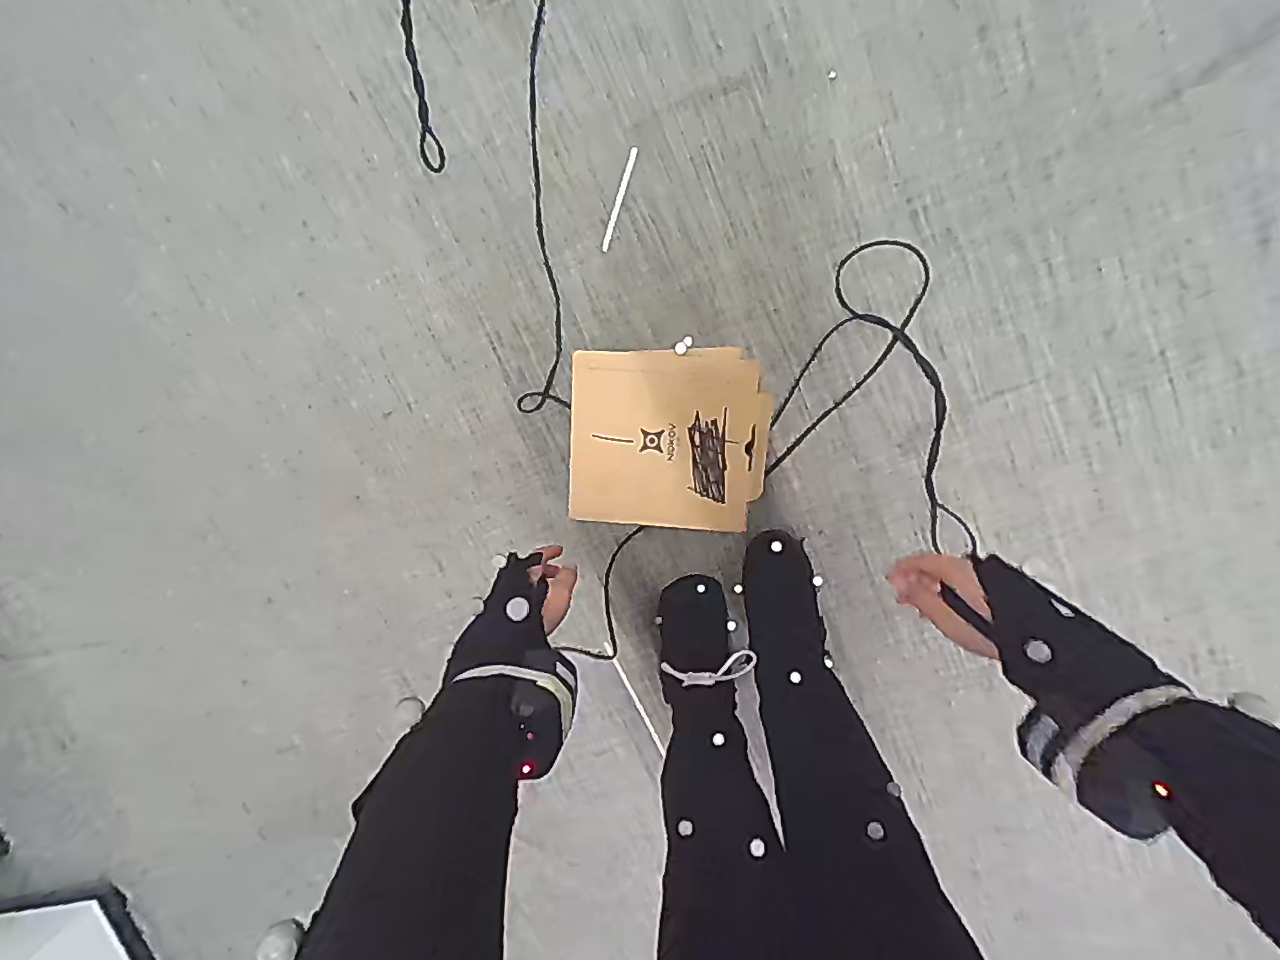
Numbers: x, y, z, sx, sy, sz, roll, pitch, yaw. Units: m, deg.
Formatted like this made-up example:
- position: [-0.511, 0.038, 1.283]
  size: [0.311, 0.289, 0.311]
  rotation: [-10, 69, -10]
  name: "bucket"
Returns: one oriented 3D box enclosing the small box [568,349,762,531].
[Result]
- position: [0.026, -0.052, 0.589]
  size: [0.179, 0.176, 0.168]
  rotation: [4, 102, 4]
  name: "small box"
